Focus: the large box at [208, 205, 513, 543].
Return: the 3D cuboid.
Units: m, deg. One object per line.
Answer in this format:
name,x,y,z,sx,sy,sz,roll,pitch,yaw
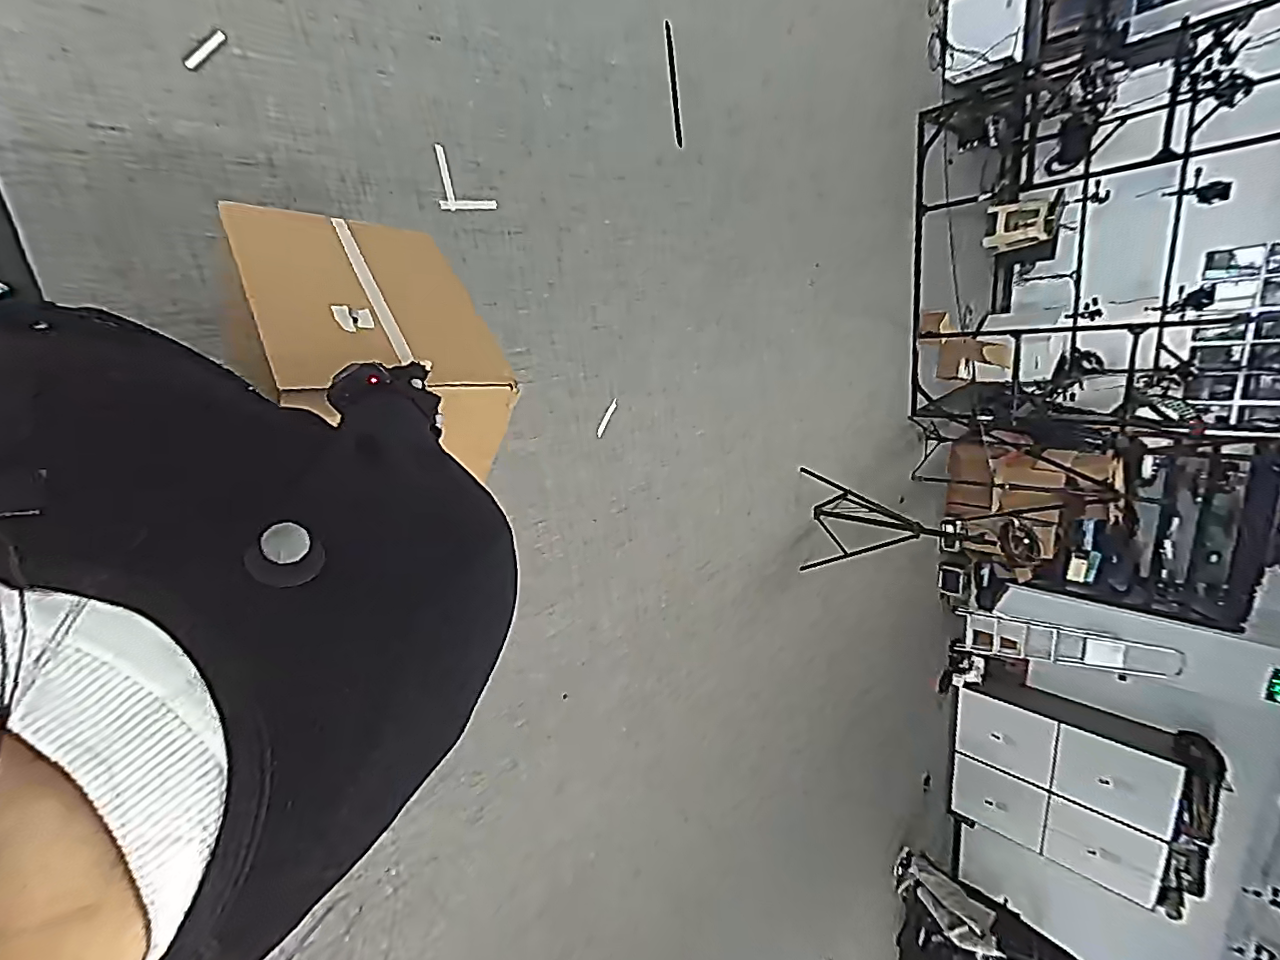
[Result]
large box,-0.467,-0.167,0.881,0.320,0.408,0.320,-11,148,-40
